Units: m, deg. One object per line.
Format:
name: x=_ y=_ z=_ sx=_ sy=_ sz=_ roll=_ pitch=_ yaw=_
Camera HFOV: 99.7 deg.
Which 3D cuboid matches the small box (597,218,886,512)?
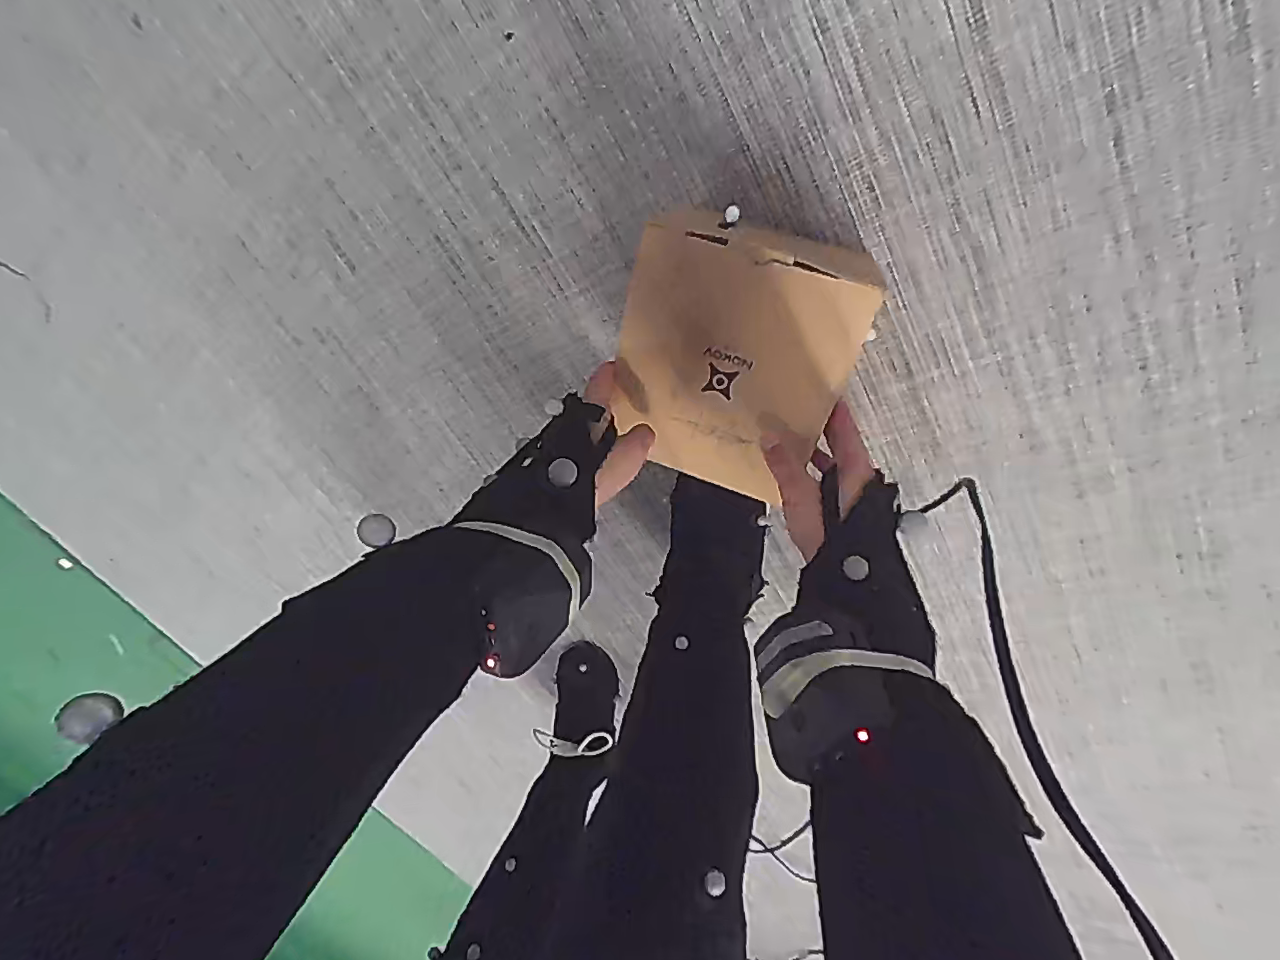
small box: x=0.082 y=-0.108 z=0.453 sx=0.168 sy=0.176 sz=0.179 roll=20 pitch=122 yaw=10
